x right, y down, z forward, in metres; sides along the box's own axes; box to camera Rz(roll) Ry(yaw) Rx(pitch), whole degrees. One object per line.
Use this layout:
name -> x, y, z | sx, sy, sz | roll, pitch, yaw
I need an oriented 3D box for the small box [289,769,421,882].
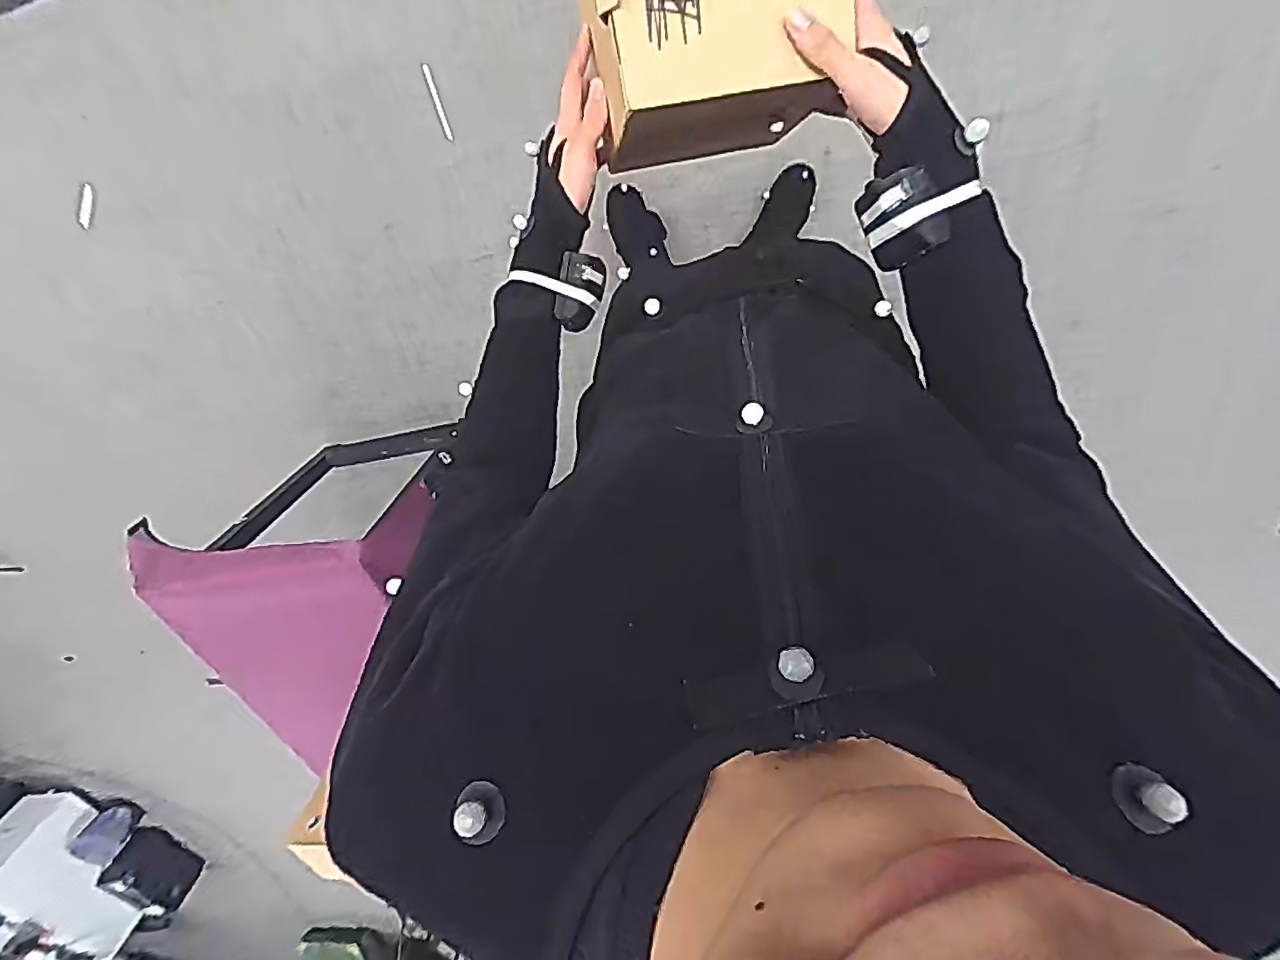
small box -> -0.642, 0.789, 1.242 | 0.179, 0.176, 0.168 | -8, 122, 11
